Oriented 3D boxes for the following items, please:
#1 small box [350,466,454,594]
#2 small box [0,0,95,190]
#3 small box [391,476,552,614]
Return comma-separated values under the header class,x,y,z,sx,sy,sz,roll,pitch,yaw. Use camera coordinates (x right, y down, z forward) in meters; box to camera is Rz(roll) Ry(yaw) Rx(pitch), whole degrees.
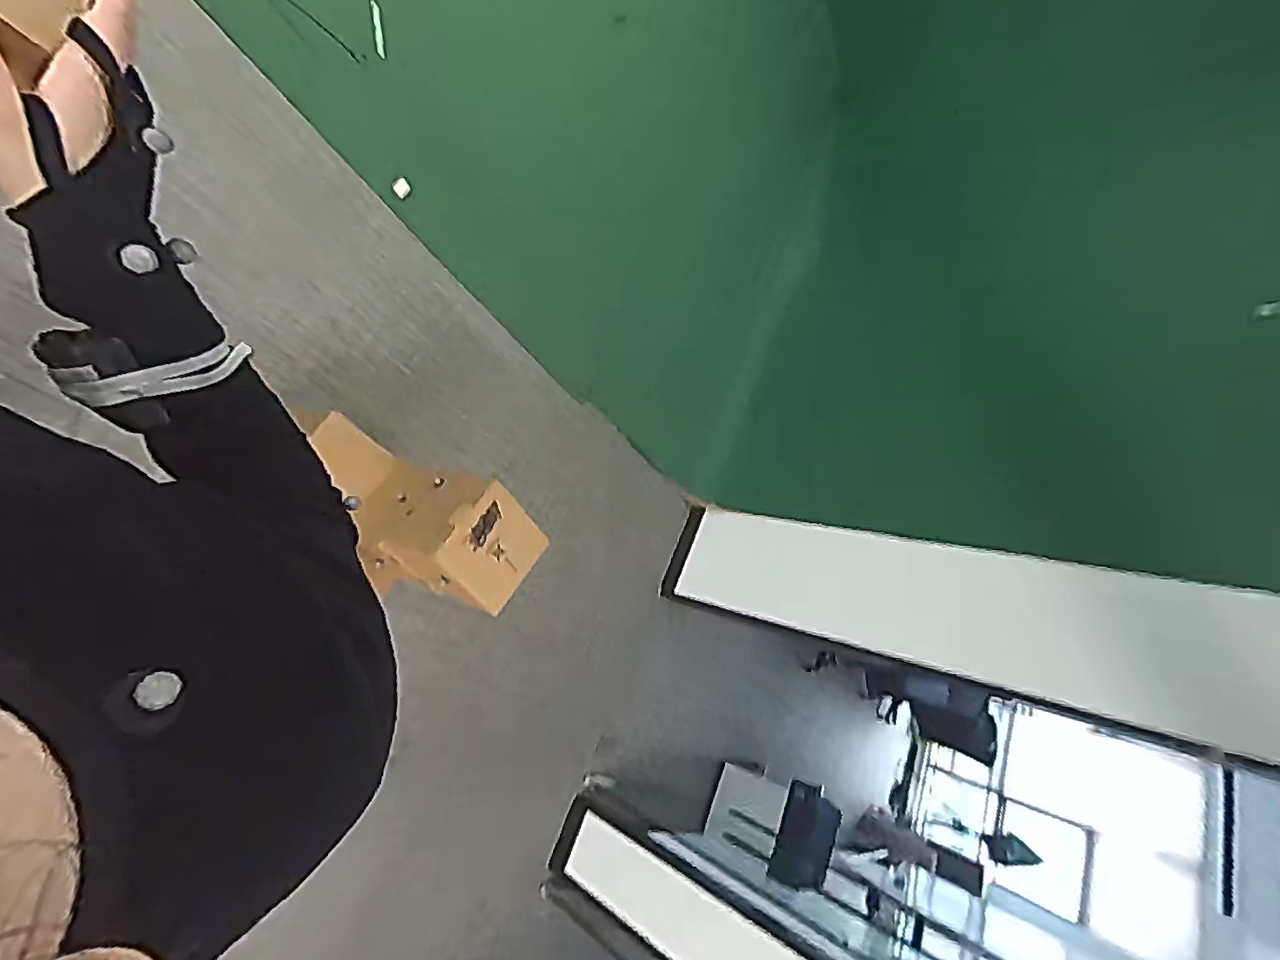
class,x,y,z,sx,sy,sz,roll,pitch,yaw
small box,-0.425,0.090,1.061,0.179,0.176,0.168,-56,133,-26
small box,-0.394,-0.287,0.266,0.168,0.176,0.179,12,115,-47
small box,-0.297,0.107,0.958,0.168,0.176,0.179,-55,135,-28
